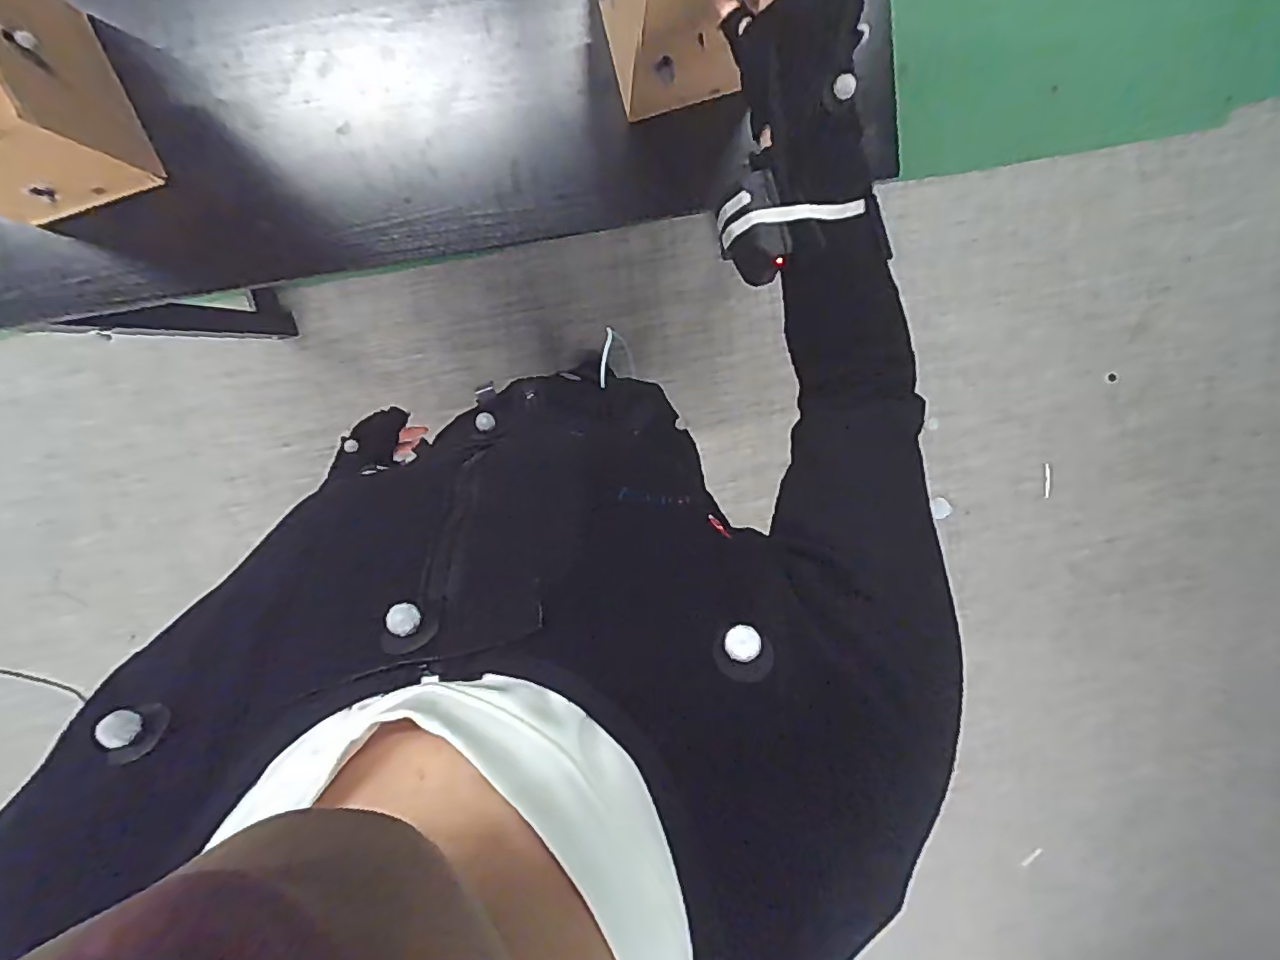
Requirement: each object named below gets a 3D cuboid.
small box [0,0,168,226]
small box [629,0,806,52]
[{"bbox_3d":[-0.635,-0.377,0.528,0.168,0.176,0.179,-19,105,-1],"label":"small box"},{"bbox_3d":[0.060,-0.469,0.390,0.168,0.176,0.179,-18,103,0],"label":"small box"}]
